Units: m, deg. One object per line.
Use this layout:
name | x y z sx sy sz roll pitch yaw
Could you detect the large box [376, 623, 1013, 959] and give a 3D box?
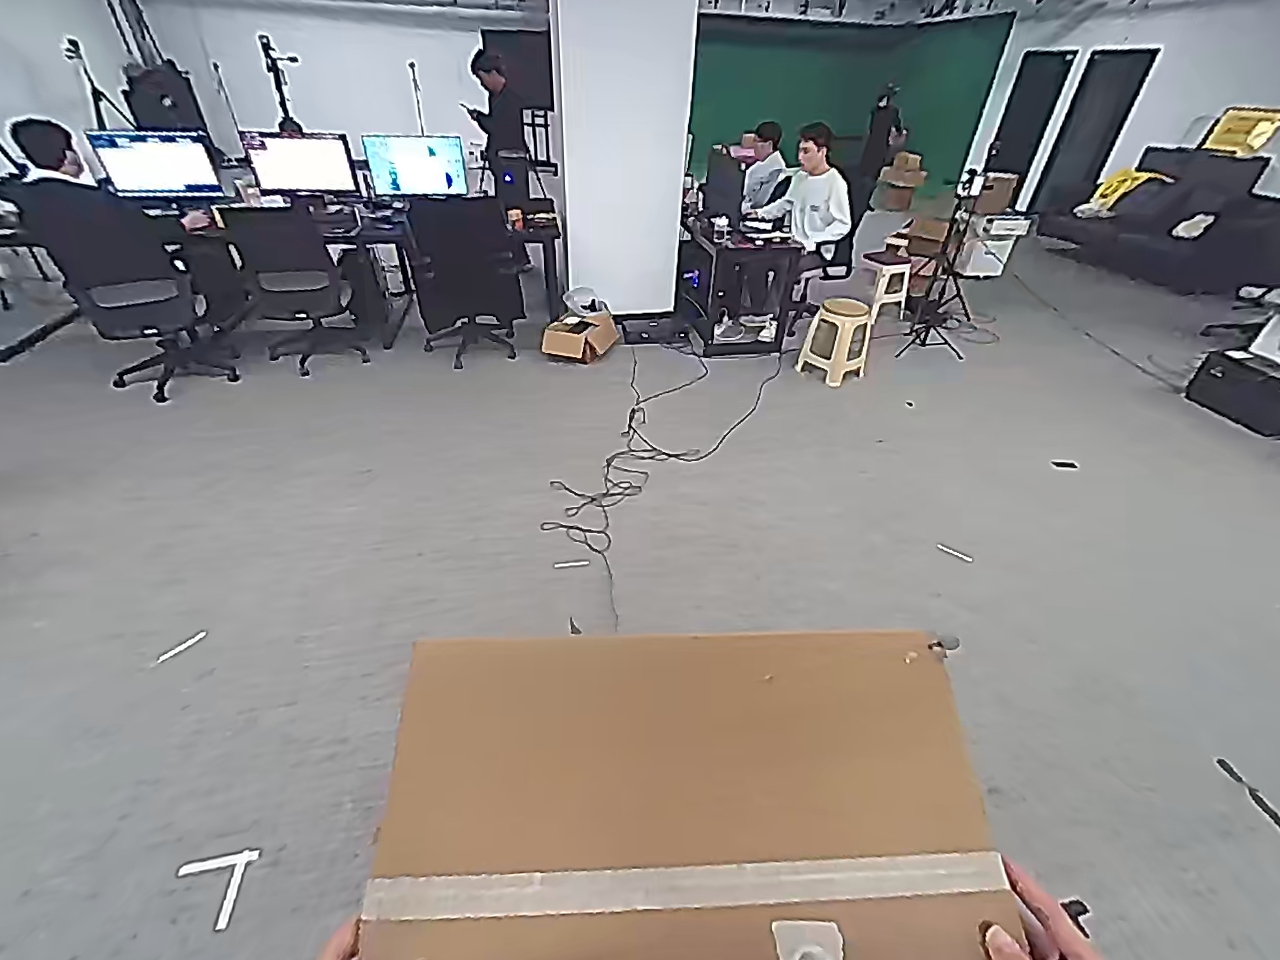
large box | 0.027 0.325 0.487 0.408 0.320 0.320 0 63 -3
